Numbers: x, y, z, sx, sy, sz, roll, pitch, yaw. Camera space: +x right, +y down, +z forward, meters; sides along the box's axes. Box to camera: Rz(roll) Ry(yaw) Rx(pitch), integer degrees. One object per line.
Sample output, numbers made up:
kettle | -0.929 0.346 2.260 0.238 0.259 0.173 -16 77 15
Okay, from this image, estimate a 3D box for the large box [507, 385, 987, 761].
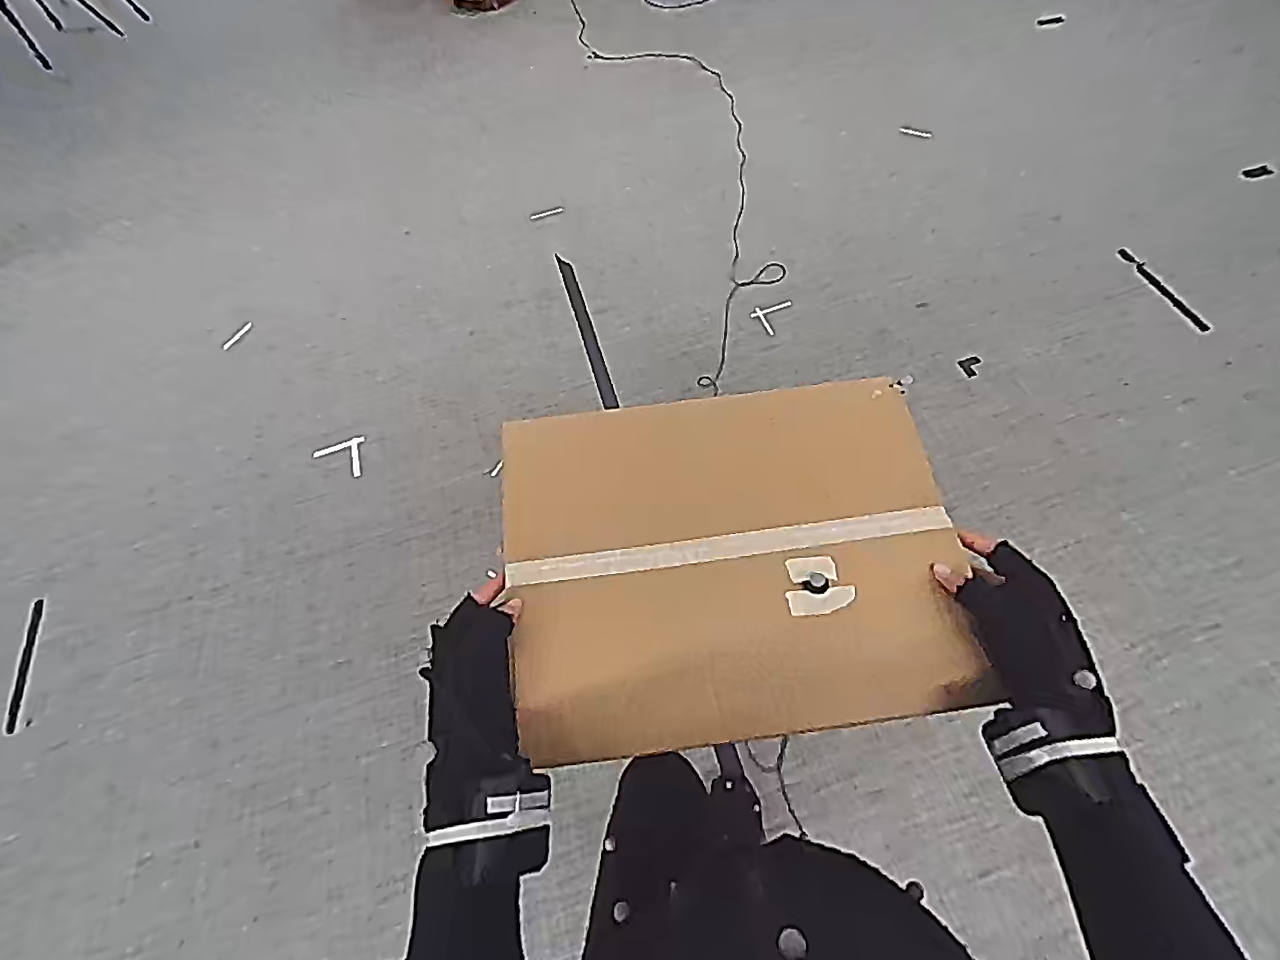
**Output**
large box | 0.081 0.123 0.643 0.408 0.320 0.320 -7 67 -2
